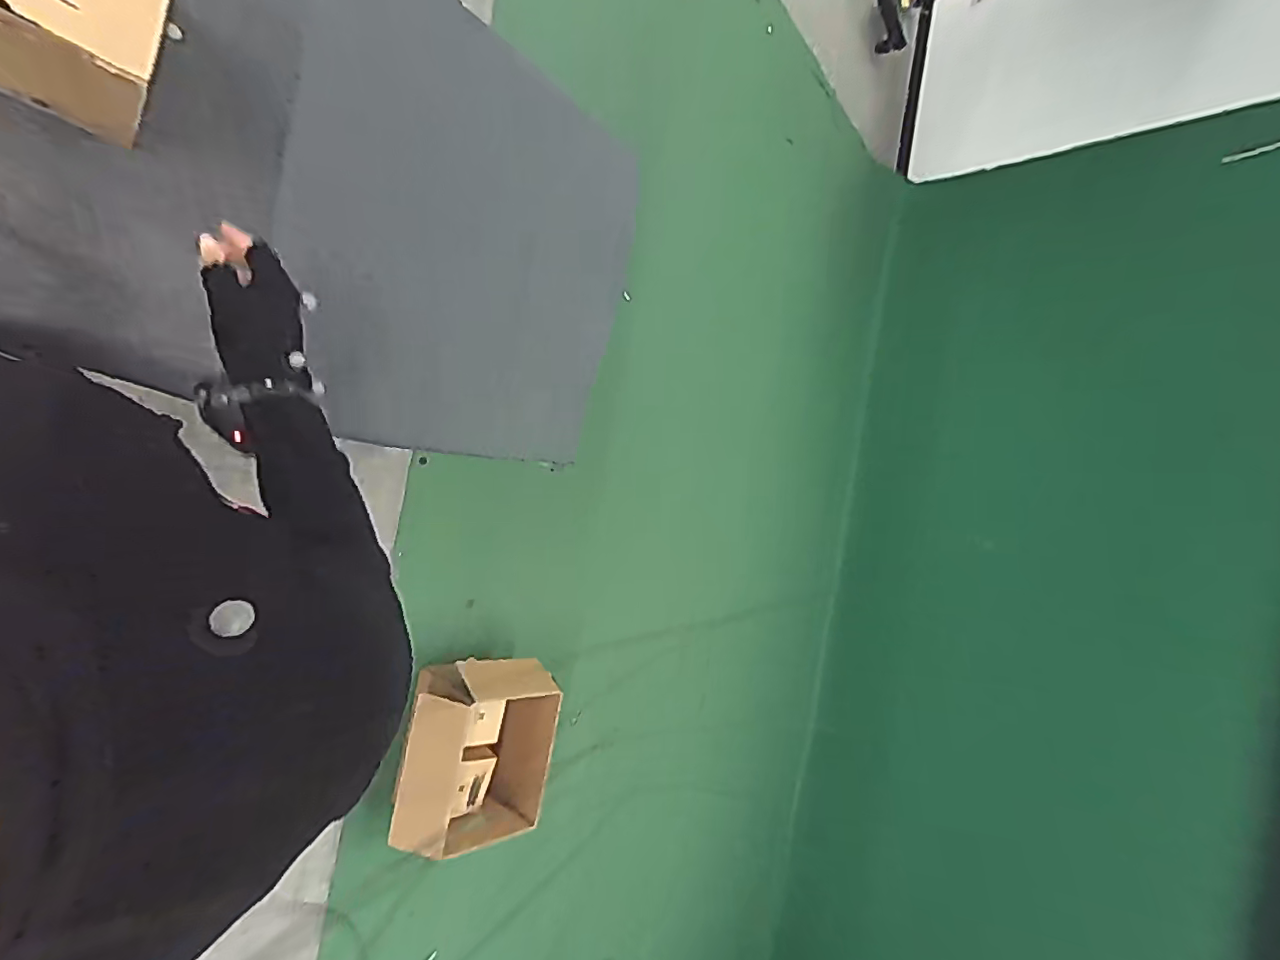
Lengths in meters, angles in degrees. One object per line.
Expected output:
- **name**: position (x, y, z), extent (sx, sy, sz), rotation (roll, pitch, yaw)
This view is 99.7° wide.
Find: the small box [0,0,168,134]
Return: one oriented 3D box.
- **small box**: position (-0.497, -0.427, 0.437), extent (0.168, 0.176, 0.179), rotation (14, 86, -48)
